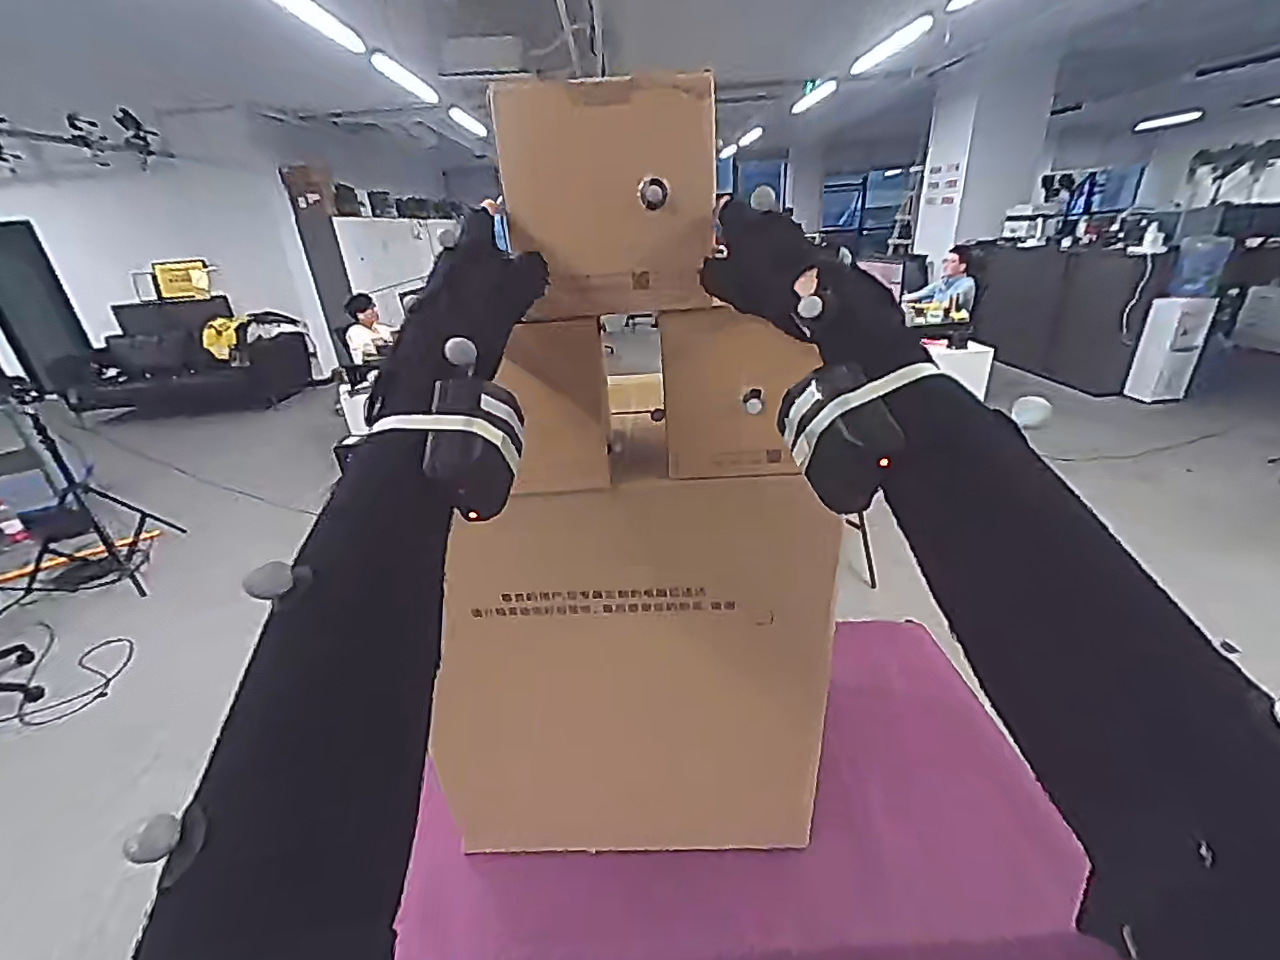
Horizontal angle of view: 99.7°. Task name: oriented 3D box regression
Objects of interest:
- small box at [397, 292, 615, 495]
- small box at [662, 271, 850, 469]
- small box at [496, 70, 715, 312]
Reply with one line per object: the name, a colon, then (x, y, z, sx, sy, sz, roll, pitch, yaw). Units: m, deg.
small box: (-0.119, -0.096, 0.569, 0.179, 0.176, 0.168, -5, 26, 0)
small box: (0.110, -0.118, 0.576, 0.168, 0.176, 0.179, -2, 27, 3)
small box: (-0.019, -0.252, 0.501, 0.168, 0.176, 0.179, -2, 26, 2)
